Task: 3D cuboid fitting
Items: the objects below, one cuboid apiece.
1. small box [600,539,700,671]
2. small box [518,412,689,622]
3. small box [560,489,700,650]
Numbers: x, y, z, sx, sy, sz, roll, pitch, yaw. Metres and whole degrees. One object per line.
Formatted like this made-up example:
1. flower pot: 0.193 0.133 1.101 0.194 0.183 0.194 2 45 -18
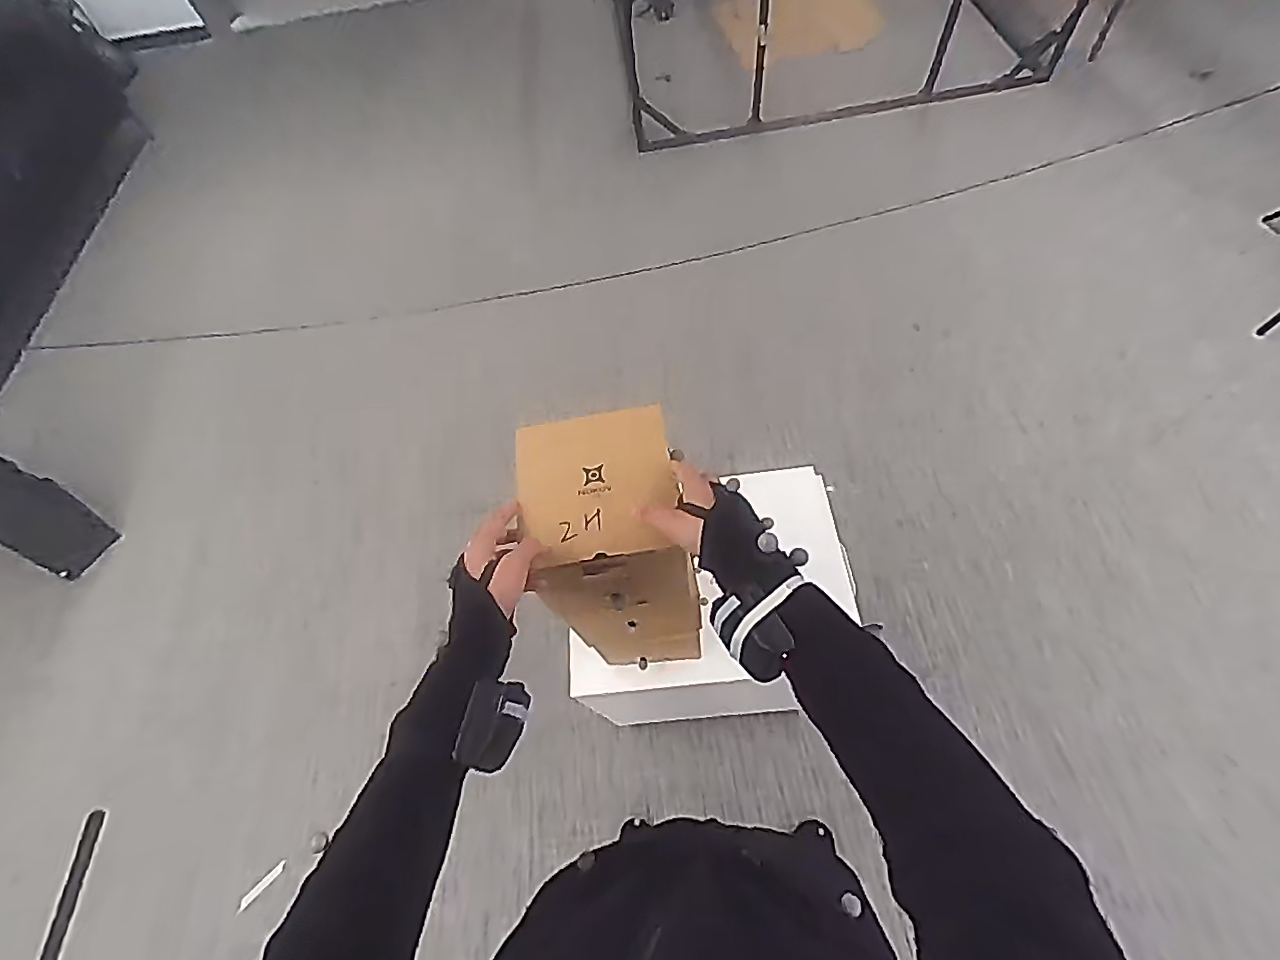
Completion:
1. small box: 0.012 0.212 0.912 0.168 0.176 0.179 -6 60 4
2. small box: -0.037 0.048 0.630 0.168 0.176 0.179 -9 60 3
3. small box: -0.012 0.132 0.770 0.179 0.176 0.168 -10 59 3
